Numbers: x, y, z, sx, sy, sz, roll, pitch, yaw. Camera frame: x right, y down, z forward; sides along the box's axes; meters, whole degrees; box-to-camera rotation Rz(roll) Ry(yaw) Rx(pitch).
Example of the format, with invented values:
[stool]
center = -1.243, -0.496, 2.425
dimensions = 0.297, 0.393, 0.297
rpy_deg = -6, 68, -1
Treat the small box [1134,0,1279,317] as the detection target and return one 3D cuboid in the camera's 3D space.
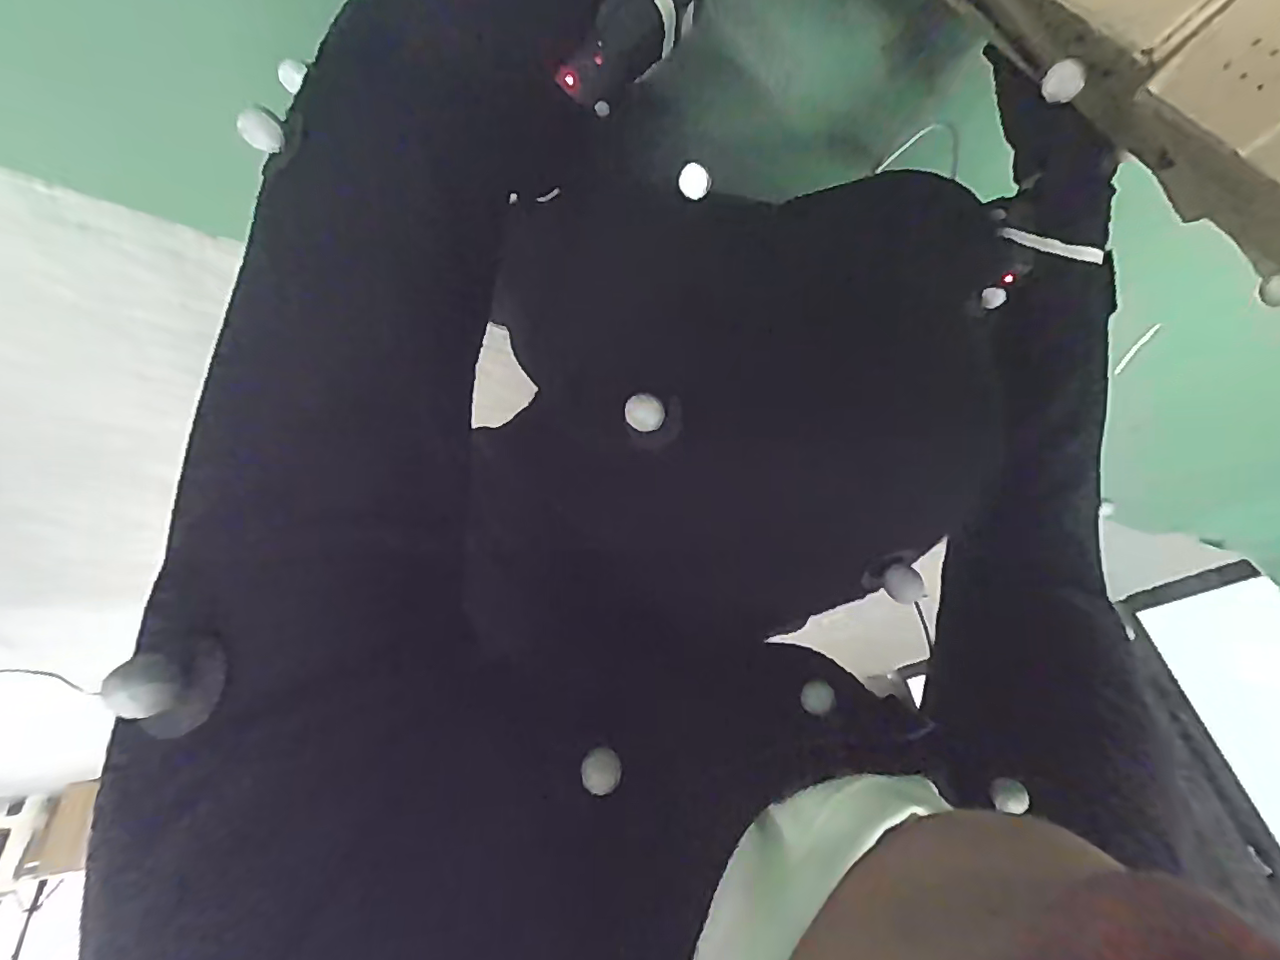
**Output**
[small box]
center = 0.278, -0.088, 0.115
dimensions = 0.168, 0.176, 0.179
rpy_deg = 11, 142, -32
